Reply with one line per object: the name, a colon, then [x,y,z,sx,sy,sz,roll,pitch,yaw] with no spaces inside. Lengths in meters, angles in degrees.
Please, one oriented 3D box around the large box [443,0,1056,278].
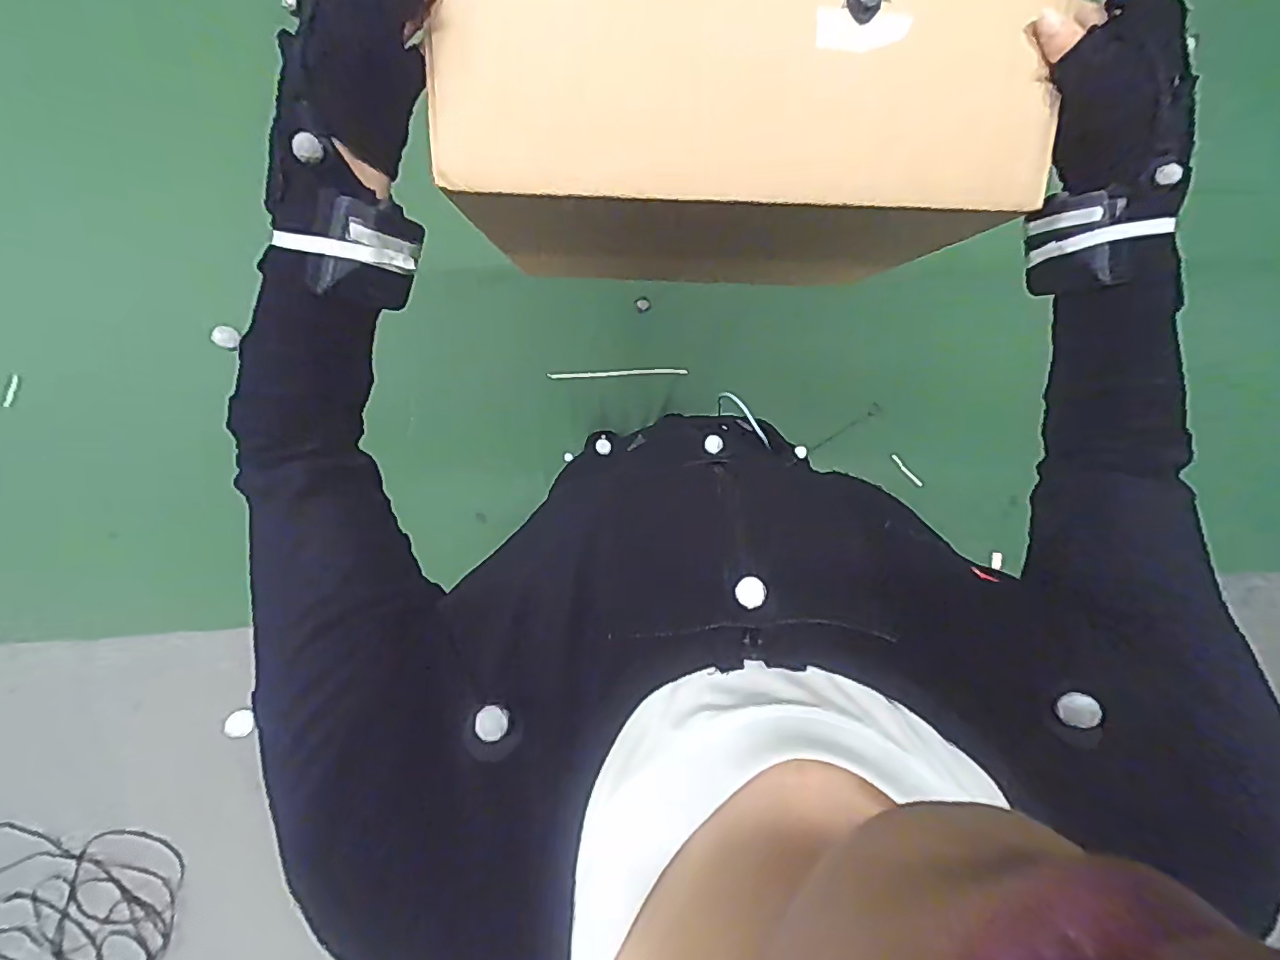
large box: [0.066,-0.372,0.487,0.408,0.320,0.320,1,101,-2]
